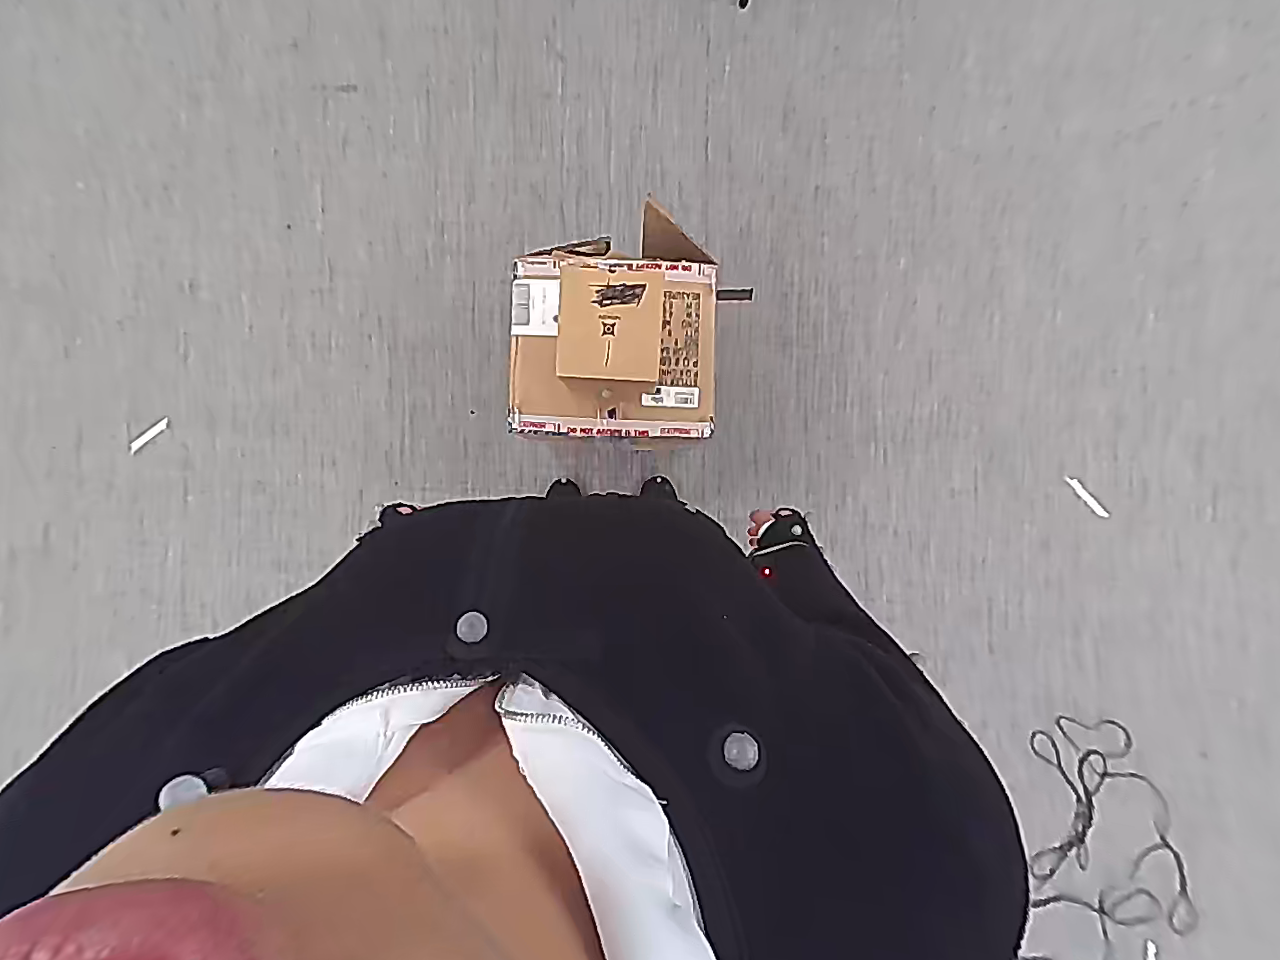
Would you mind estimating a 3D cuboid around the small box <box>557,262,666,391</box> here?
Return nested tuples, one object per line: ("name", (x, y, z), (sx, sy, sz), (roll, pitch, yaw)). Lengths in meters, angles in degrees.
("small box", (-0.048, -0.255, 0.933), (0.168, 0.176, 0.179), (3, 93, -1))
